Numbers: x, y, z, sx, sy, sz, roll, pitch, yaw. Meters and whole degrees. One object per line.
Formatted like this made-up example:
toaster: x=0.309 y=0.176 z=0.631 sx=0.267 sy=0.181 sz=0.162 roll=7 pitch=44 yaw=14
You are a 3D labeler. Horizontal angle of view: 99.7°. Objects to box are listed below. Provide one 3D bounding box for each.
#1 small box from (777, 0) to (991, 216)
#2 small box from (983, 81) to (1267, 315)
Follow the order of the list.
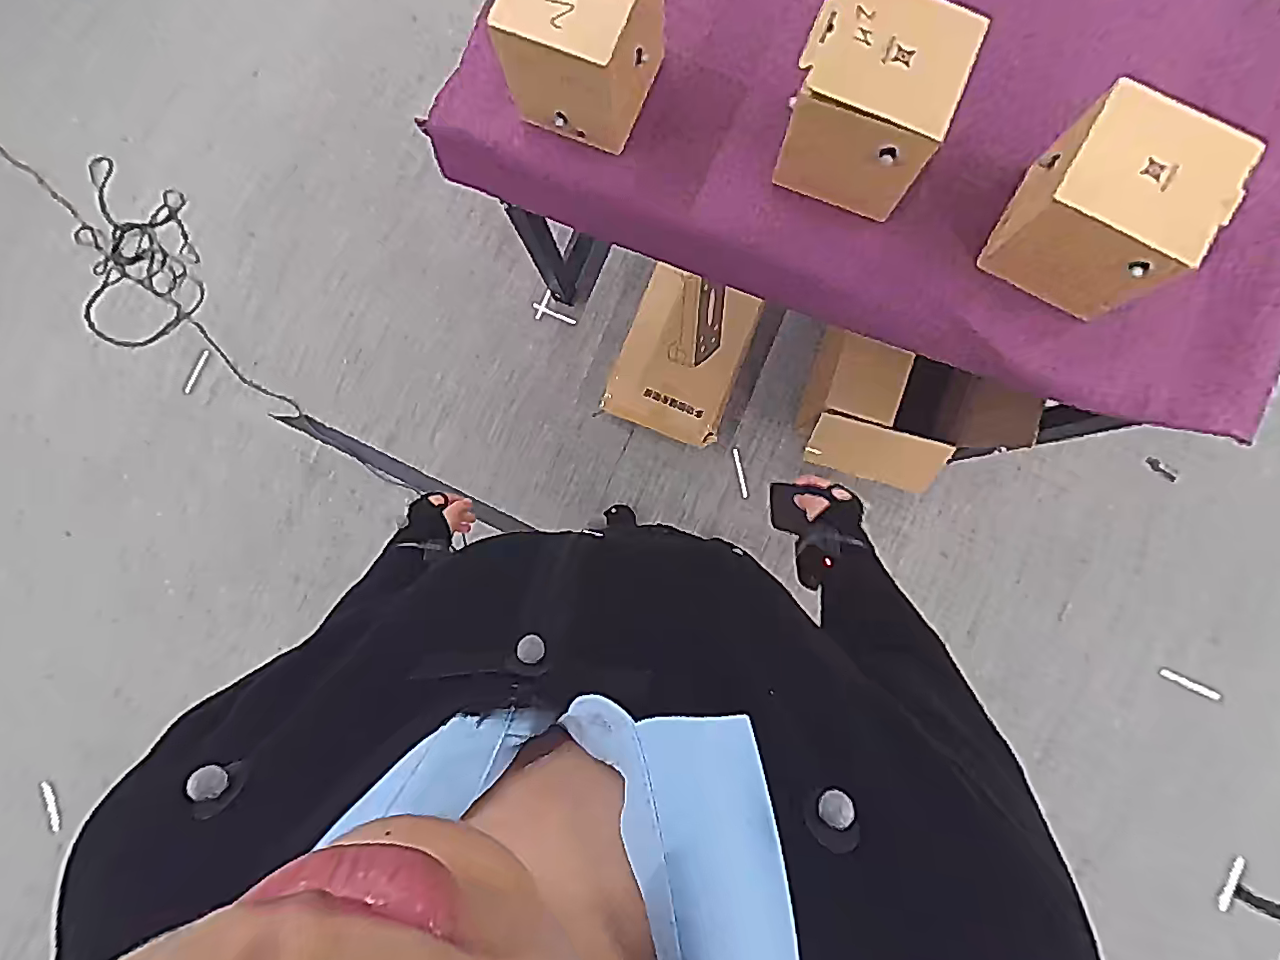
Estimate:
small box: x=0.302 y=-0.481 z=0.707 sx=0.179 sy=0.176 sz=0.168 roll=23 pitch=85 yaw=5
small box: x=0.585 y=-0.336 z=0.682 sx=0.179 sy=0.176 sz=0.168 roll=30 pitch=88 yaw=5
